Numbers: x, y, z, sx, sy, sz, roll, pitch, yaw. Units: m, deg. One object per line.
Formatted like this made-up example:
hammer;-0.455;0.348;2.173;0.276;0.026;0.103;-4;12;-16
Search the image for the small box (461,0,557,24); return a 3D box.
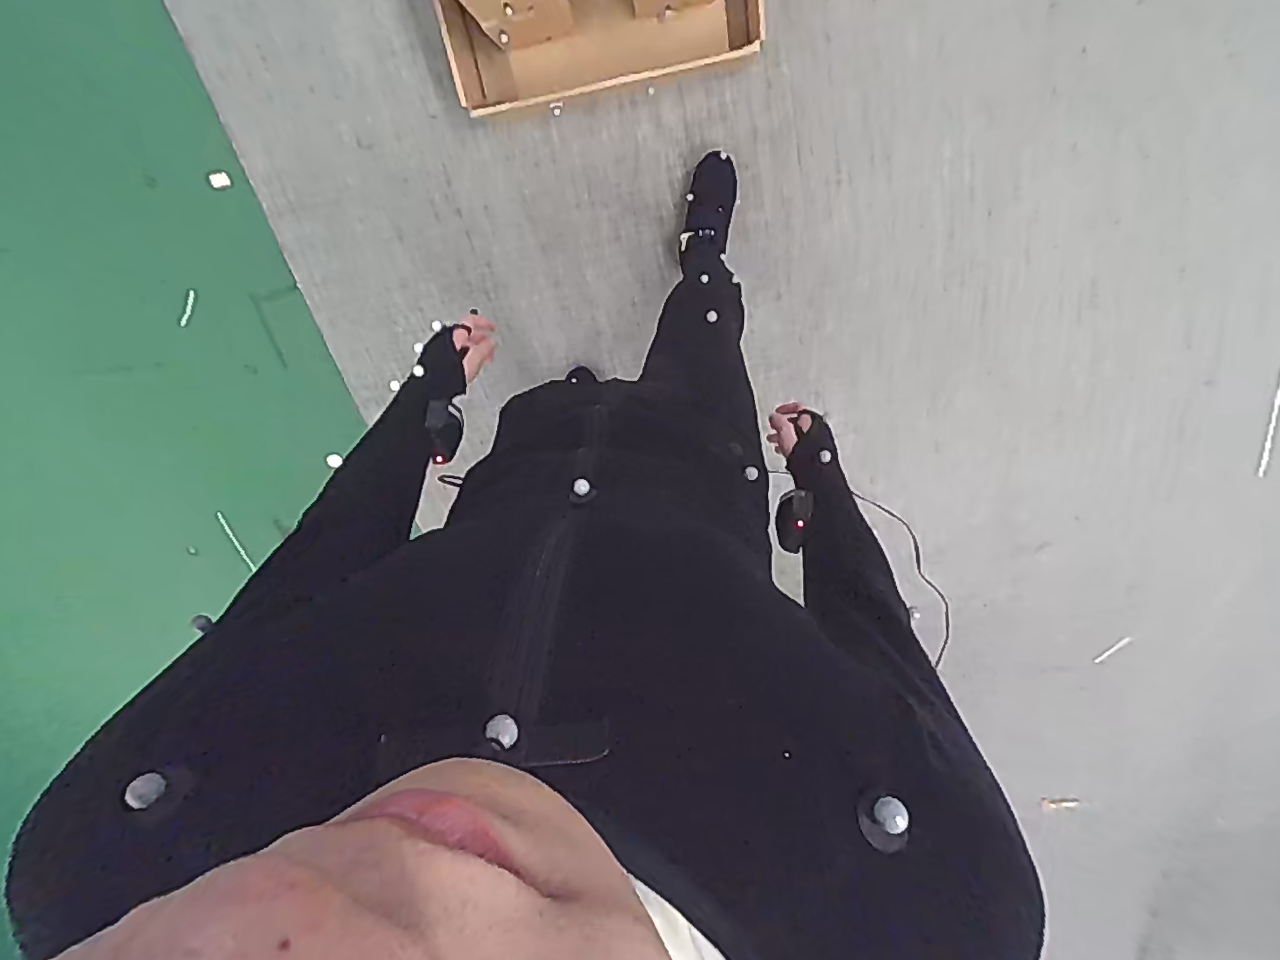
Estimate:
small box;-0.243;-0.903;0.892;0.168;0.176;0.179;-8;115;5
